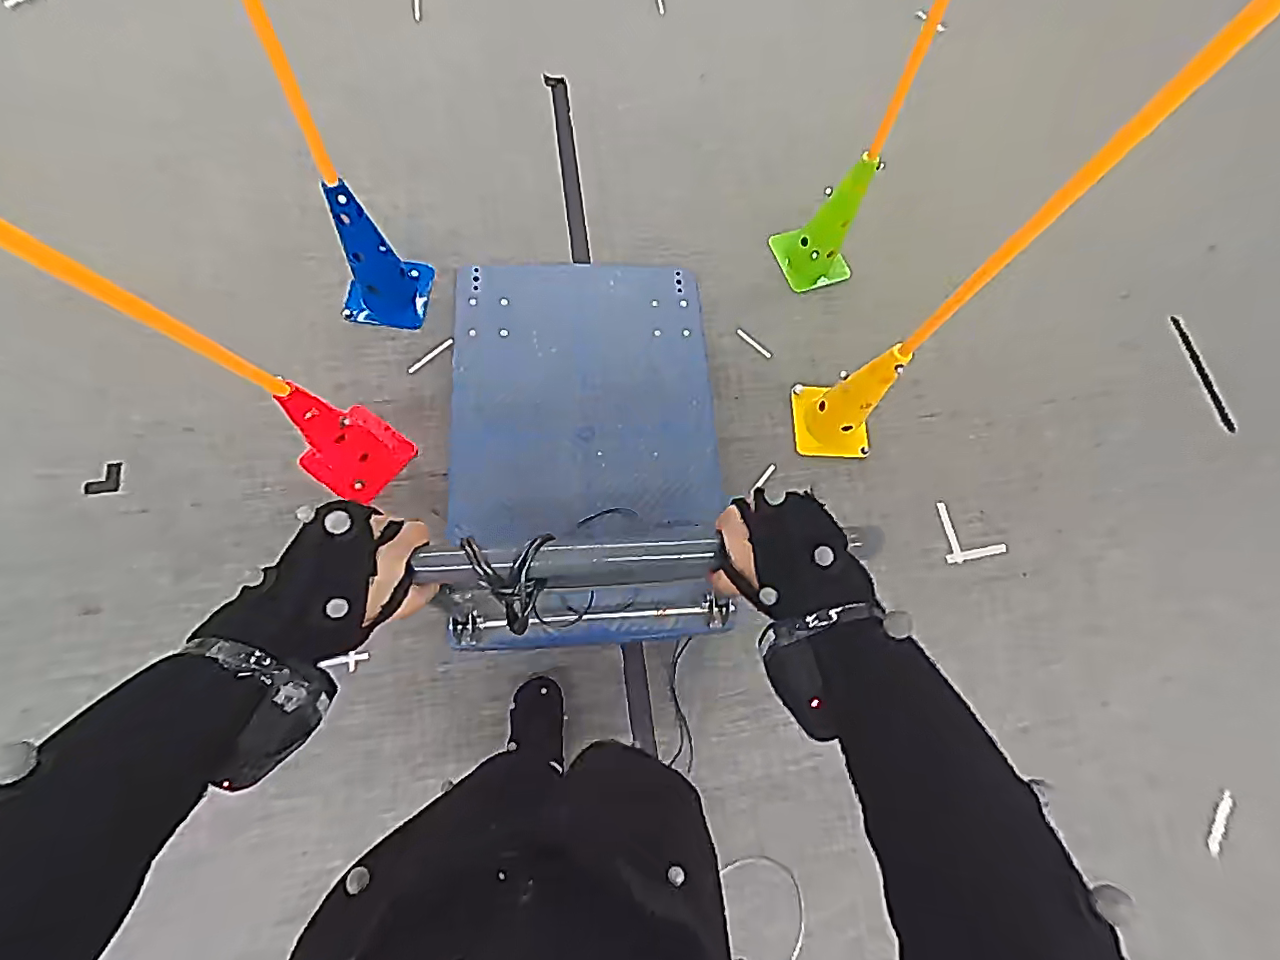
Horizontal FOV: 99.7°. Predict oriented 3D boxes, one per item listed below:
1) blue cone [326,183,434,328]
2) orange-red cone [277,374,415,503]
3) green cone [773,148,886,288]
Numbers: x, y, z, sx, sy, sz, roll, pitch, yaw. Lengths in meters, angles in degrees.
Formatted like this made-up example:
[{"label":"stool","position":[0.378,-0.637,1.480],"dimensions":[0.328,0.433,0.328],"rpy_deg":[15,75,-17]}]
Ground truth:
[{"label":"blue cone","position":[-0.627,-0.536,1.254],"dimensions":[0.193,0.380,0.192],"rpy_deg":[8,73,-4]},{"label":"orange-red cone","position":[-0.638,-0.118,1.108],"dimensions":[0.198,0.360,0.199],"rpy_deg":[37,71,5]},{"label":"green cone","position":[0.529,-0.713,1.426],"dimensions":[0.200,0.368,0.202],"rpy_deg":[-20,78,-12]}]
